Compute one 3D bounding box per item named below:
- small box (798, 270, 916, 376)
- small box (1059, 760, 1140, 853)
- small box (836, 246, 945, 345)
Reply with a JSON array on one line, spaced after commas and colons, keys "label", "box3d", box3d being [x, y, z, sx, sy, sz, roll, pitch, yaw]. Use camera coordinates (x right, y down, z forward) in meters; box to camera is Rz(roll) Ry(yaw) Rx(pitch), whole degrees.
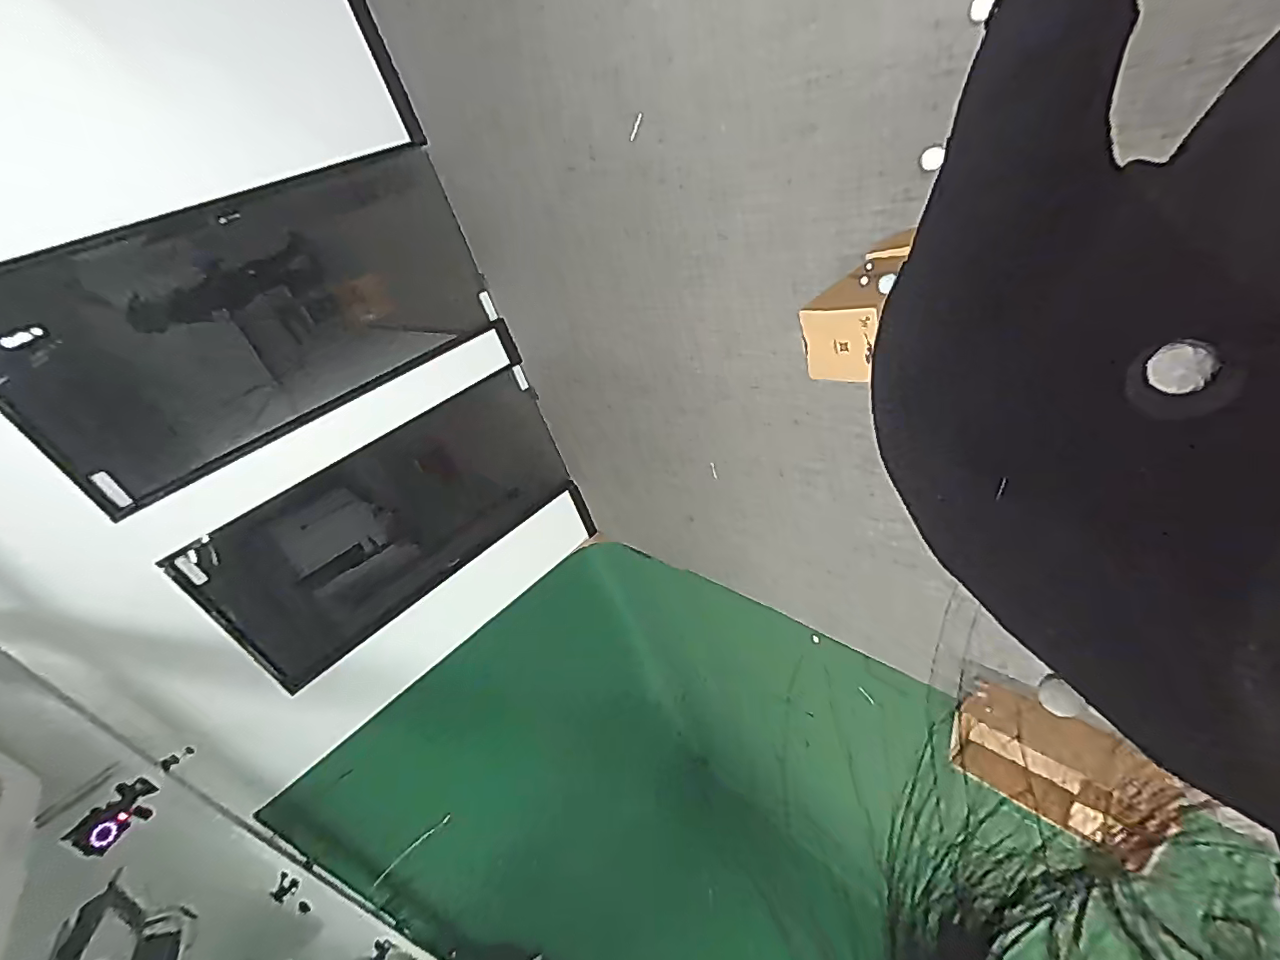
[{"label": "small box", "box3d": [0.476, -0.345, 1.180, 0.179, 0.176, 0.168, 18, 138, 47]}, {"label": "small box", "box3d": [1.556, 1.101, 1.832, 0.168, 0.176, 0.179, 19, 137, 45]}, {"label": "small box", "box3d": [0.587, -0.431, 1.266, 0.179, 0.176, 0.168, 16, 137, 45]}]
